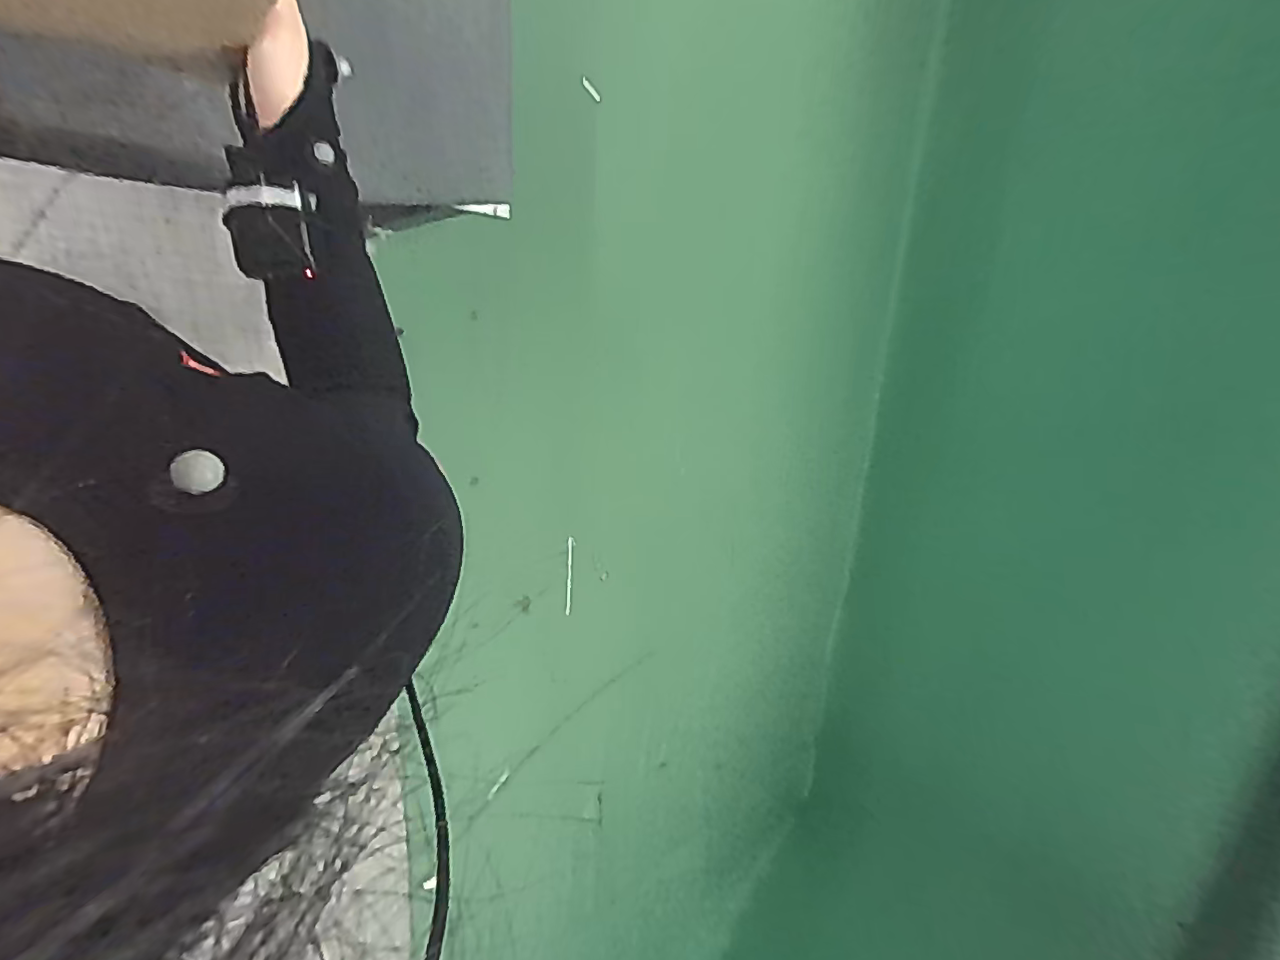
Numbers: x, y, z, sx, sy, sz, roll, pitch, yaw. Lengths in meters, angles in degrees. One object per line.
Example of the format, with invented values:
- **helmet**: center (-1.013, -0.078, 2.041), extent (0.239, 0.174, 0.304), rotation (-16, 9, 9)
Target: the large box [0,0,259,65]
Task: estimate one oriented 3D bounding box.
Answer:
- **large box**: center (-0.363, -0.400, 0.152), extent (0.408, 0.320, 0.320), rotation (-13, 113, -43)
